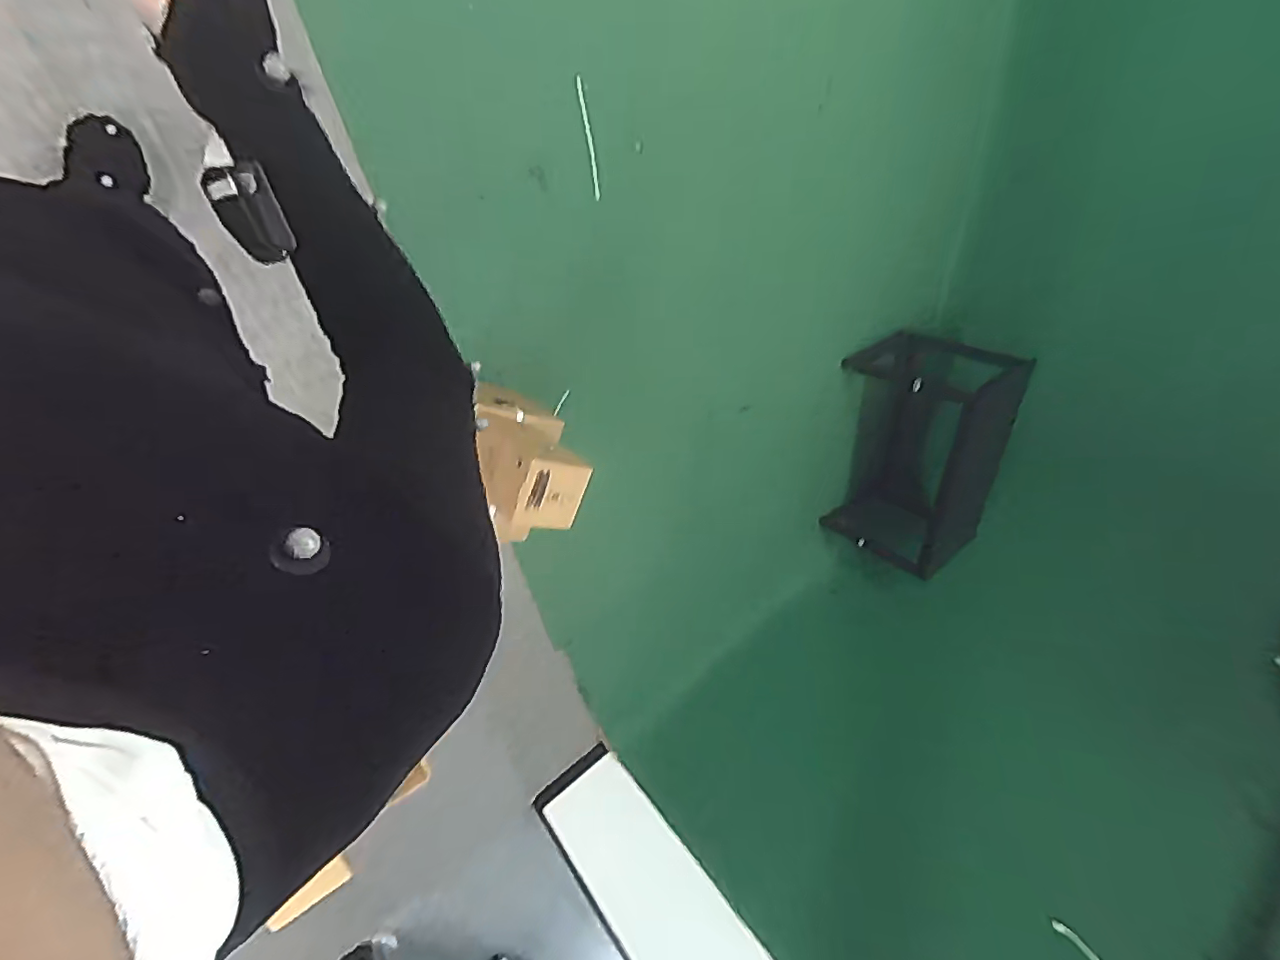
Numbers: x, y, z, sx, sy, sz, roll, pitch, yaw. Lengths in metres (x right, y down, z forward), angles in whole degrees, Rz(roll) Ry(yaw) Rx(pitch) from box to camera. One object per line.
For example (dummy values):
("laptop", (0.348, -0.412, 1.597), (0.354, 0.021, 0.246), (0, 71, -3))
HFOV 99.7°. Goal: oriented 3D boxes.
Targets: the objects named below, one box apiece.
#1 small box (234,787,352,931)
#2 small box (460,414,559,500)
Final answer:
("small box", (-0.775, 0.838, 1.210), (0.168, 0.176, 0.179), (-25, 128, -31))
("small box", (-0.353, -0.064, 1.437), (0.179, 0.176, 0.168), (10, 108, -46))
